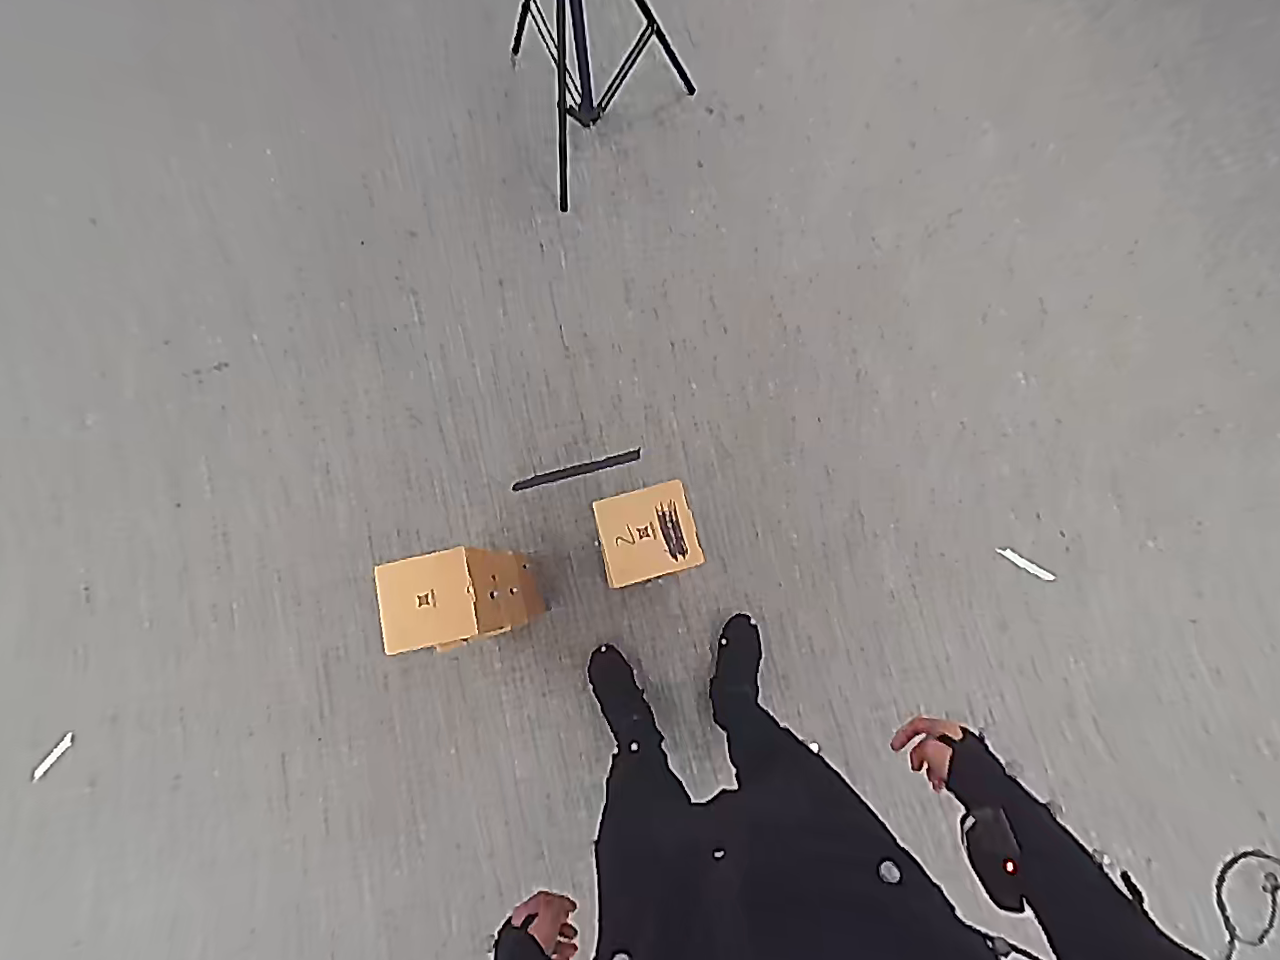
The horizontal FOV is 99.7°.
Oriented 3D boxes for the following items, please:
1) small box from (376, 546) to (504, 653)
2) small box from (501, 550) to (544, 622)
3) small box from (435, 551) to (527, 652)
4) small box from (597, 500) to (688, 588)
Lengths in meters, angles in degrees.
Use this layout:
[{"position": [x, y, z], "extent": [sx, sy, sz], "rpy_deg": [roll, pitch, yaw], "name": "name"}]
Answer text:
[{"position": [-0.386, 0.233, 1.064], "extent": [0.179, 0.176, 0.168], "rpy_deg": [-13, 79, -1], "name": "small box"}, {"position": [-0.360, 0.293, 1.384], "extent": [0.168, 0.176, 0.179], "rpy_deg": [-19, 80, -2], "name": "small box"}, {"position": [-0.369, 0.270, 1.222], "extent": [0.168, 0.176, 0.179], "rpy_deg": [-18, 80, -2], "name": "small box"}, {"position": [0.002, 0.150, 1.238], "extent": [0.179, 0.176, 0.168], "rpy_deg": [-11, 79, -2], "name": "small box"}]
